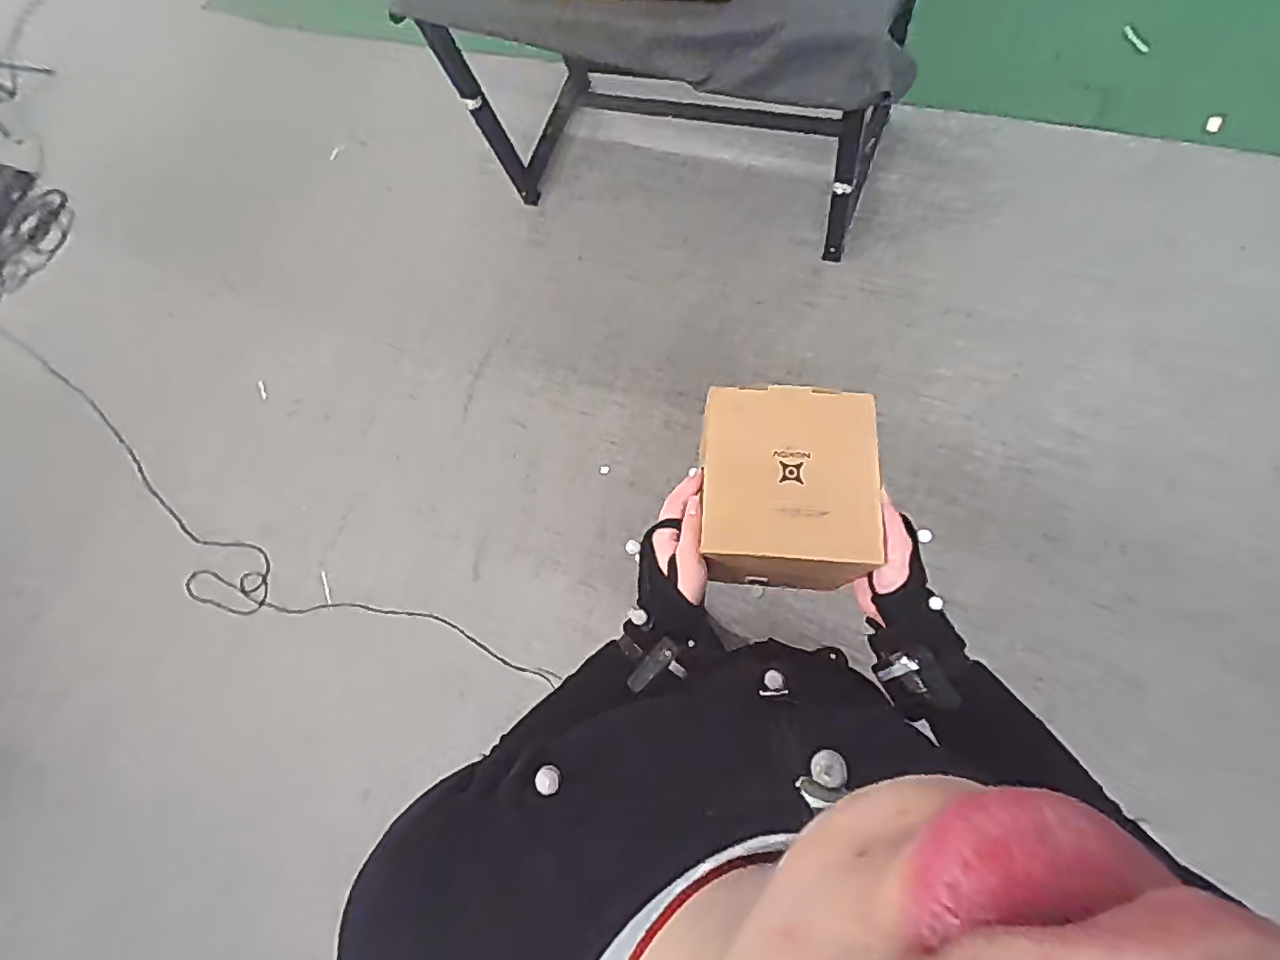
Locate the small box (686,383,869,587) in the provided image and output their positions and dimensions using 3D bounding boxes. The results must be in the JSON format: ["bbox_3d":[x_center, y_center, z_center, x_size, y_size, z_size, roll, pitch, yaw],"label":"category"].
[{"bbox_3d":[0.141,0.014,0.602,0.168,0.176,0.179,5,72,4],"label":"small box"}]
